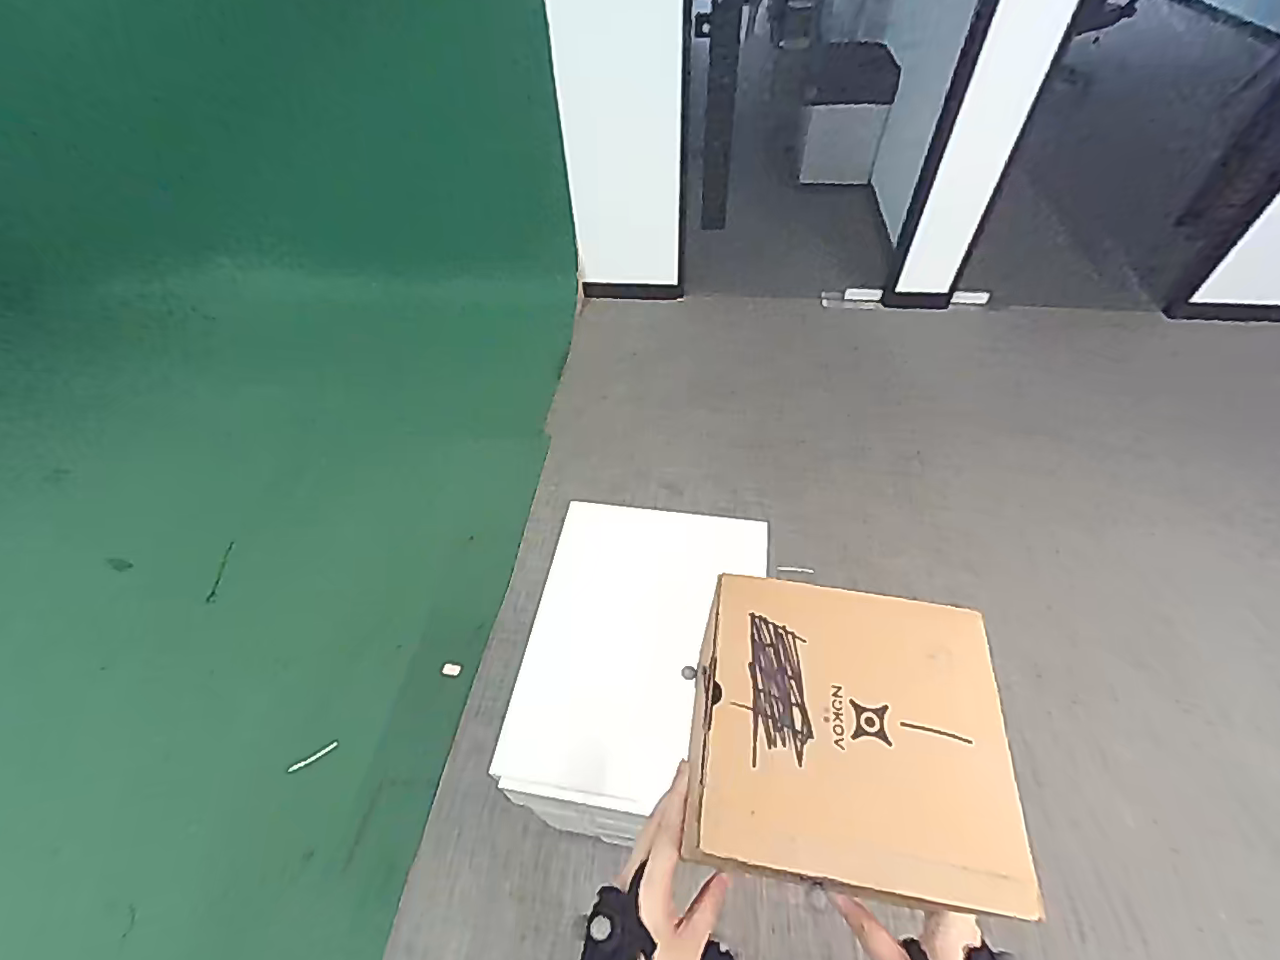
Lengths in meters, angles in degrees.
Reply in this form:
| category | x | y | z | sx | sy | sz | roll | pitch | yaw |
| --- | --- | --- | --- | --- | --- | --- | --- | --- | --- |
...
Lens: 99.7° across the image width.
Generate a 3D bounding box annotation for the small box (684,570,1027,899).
| category | x | y | z | sx | sy | sz | roll | pitch | yaw |
| --- | --- | --- | --- | --- | --- | --- | --- | --- | --- |
| small box | 0.130 | 0.188 | 0.398 | 0.179 | 0.176 | 0.168 | 9 | 55 | 6 |
